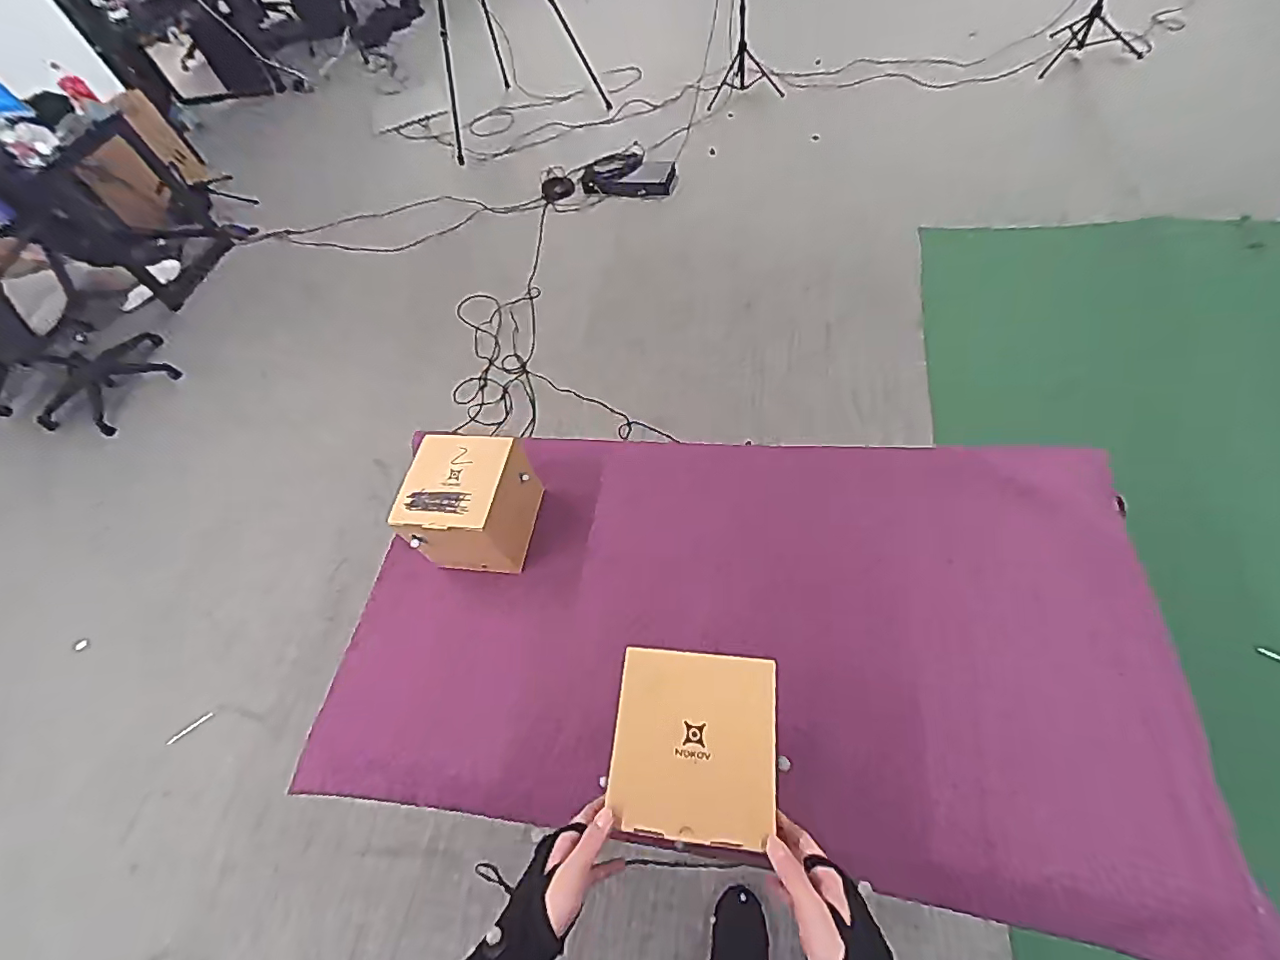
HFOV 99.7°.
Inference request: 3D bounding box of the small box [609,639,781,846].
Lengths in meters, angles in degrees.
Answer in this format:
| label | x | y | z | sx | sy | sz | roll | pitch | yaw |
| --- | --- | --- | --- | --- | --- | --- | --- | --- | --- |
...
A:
| label | x | y | z | sx | sy | sz | roll | pitch | yaw |
| --- | --- | --- | --- | --- | --- | --- | --- | --- | --- |
| small box | 0.068 | 0.300 | 0.621 | 0.168 | 0.176 | 0.179 | 3 | 60 | 9 |
